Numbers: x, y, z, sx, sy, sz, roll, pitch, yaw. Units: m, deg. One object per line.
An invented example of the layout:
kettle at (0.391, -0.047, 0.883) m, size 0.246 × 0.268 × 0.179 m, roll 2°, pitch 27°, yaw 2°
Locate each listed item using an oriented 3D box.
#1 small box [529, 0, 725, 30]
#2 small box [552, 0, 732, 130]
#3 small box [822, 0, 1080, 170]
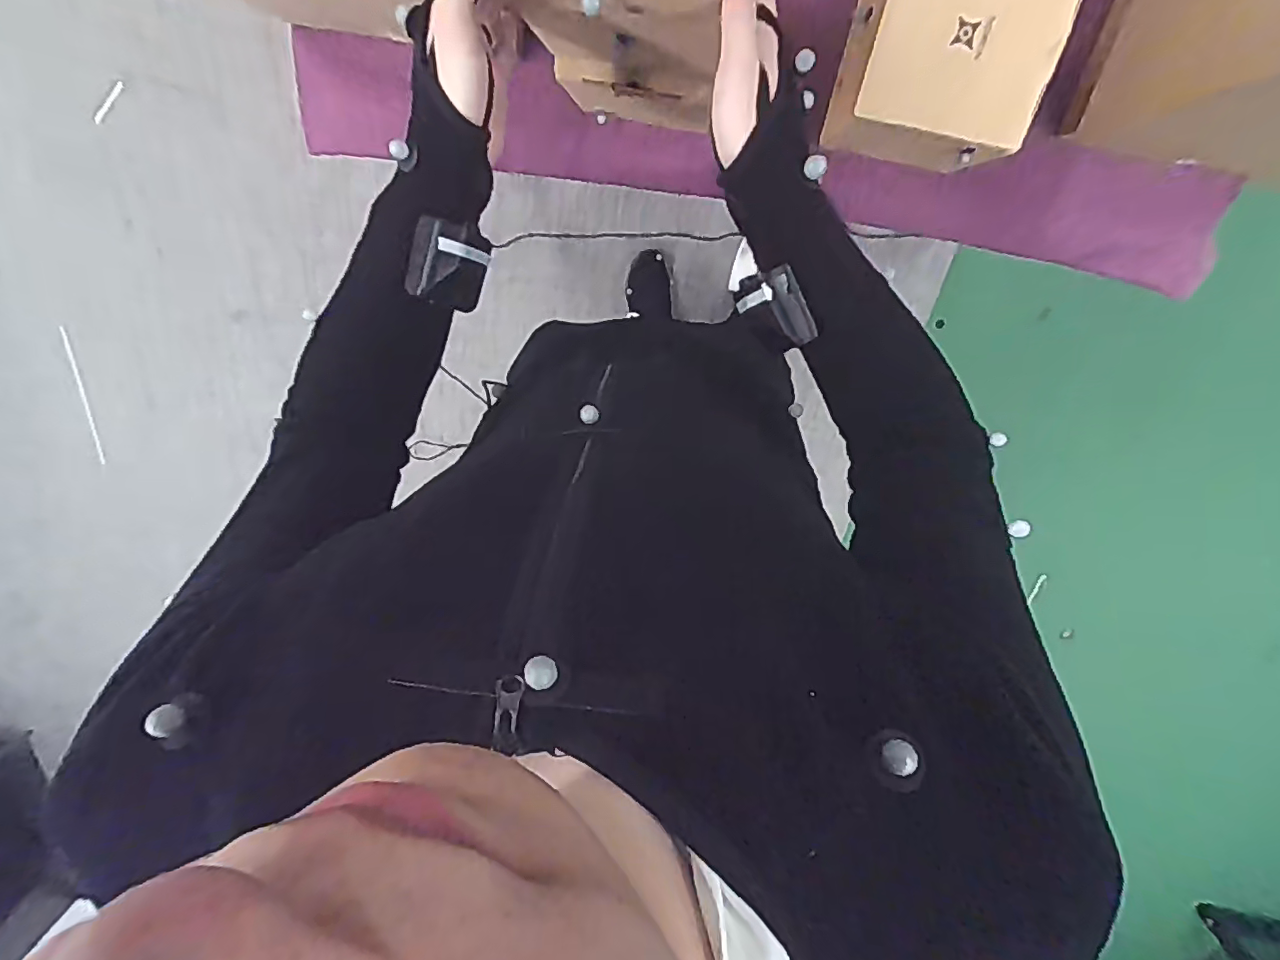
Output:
small box at (-0.017, -0.380, 0.280) m, size 0.168 × 0.176 × 0.179 m, roll 10°, pitch 115°, yaw 1°
small box at (0.011, -0.503, 0.585) m, size 0.168 × 0.176 × 0.179 m, roll 10°, pitch 113°, yaw 0°
small box at (0.317, -0.451, 0.585) m, size 0.179 × 0.176 × 0.168 m, roll 12°, pitch 114°, yaw 0°
